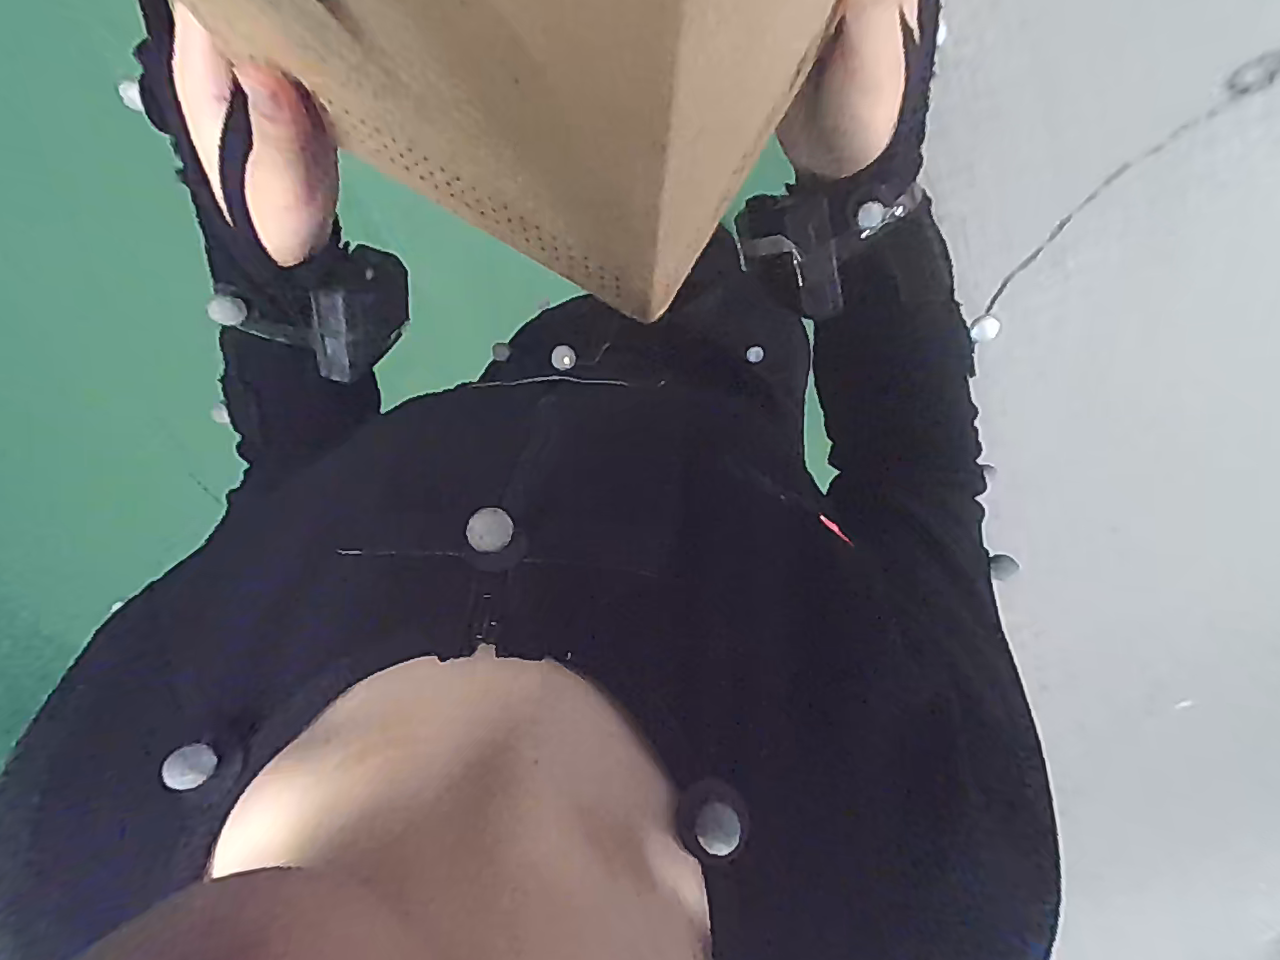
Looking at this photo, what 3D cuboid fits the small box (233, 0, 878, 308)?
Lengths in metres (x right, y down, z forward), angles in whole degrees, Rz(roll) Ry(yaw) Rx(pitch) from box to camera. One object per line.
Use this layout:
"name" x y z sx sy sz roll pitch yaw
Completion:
"small box" -0.017 -0.176 0.144 0.179 0.176 0.168 30 86 2
